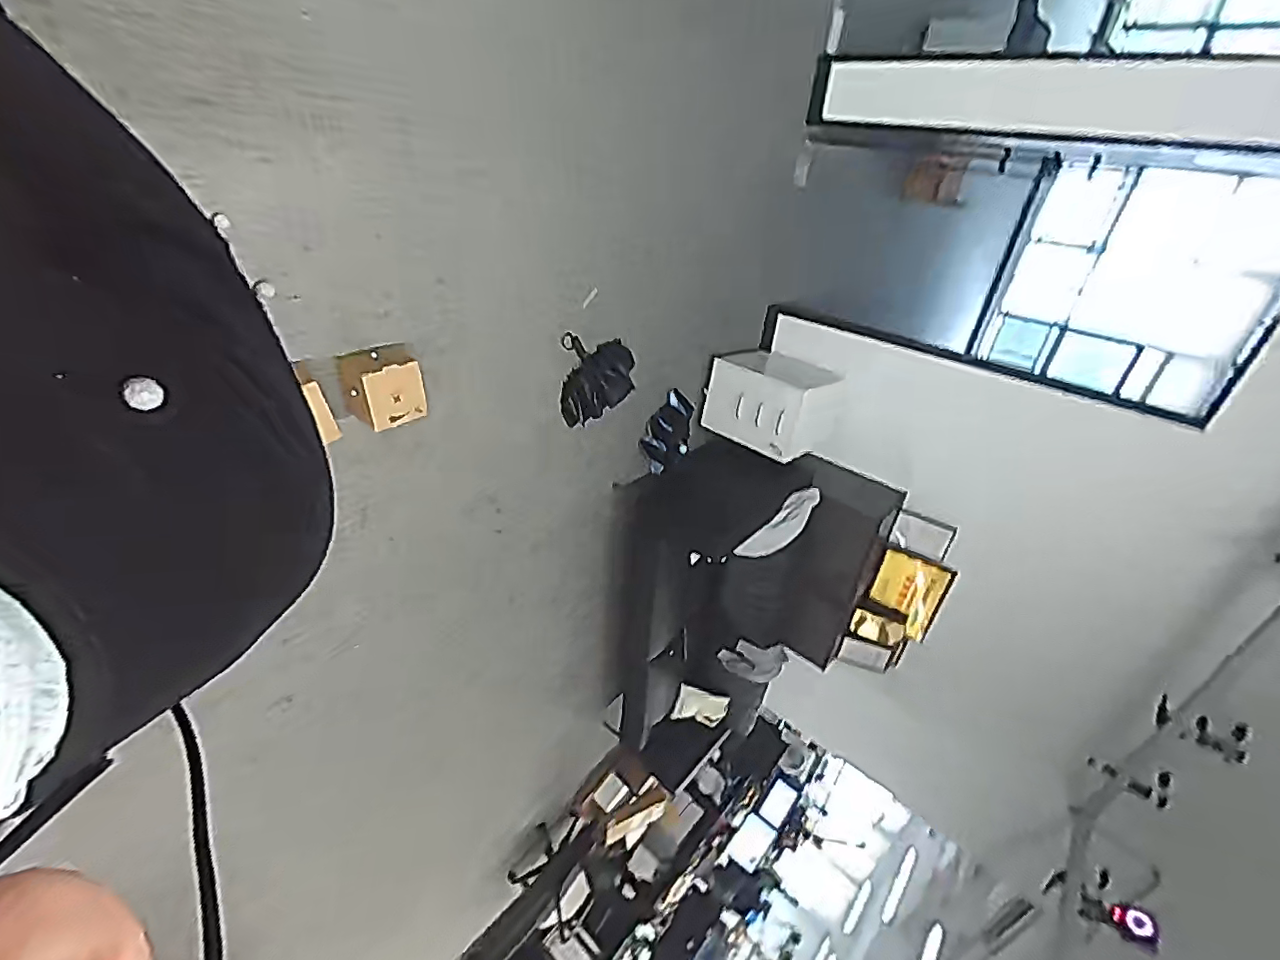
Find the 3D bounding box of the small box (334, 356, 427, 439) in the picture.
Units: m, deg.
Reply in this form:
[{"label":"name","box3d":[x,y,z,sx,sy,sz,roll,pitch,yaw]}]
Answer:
[{"label":"small box","box3d":[-0.747,-0.246,1.556,0.168,0.176,0.179,-31,136,-40]}]

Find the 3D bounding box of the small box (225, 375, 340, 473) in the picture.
[{"label":"small box","box3d":[-0.916,-0.153,1.387,0.168,0.176,0.179,-36,141,-33]}]
